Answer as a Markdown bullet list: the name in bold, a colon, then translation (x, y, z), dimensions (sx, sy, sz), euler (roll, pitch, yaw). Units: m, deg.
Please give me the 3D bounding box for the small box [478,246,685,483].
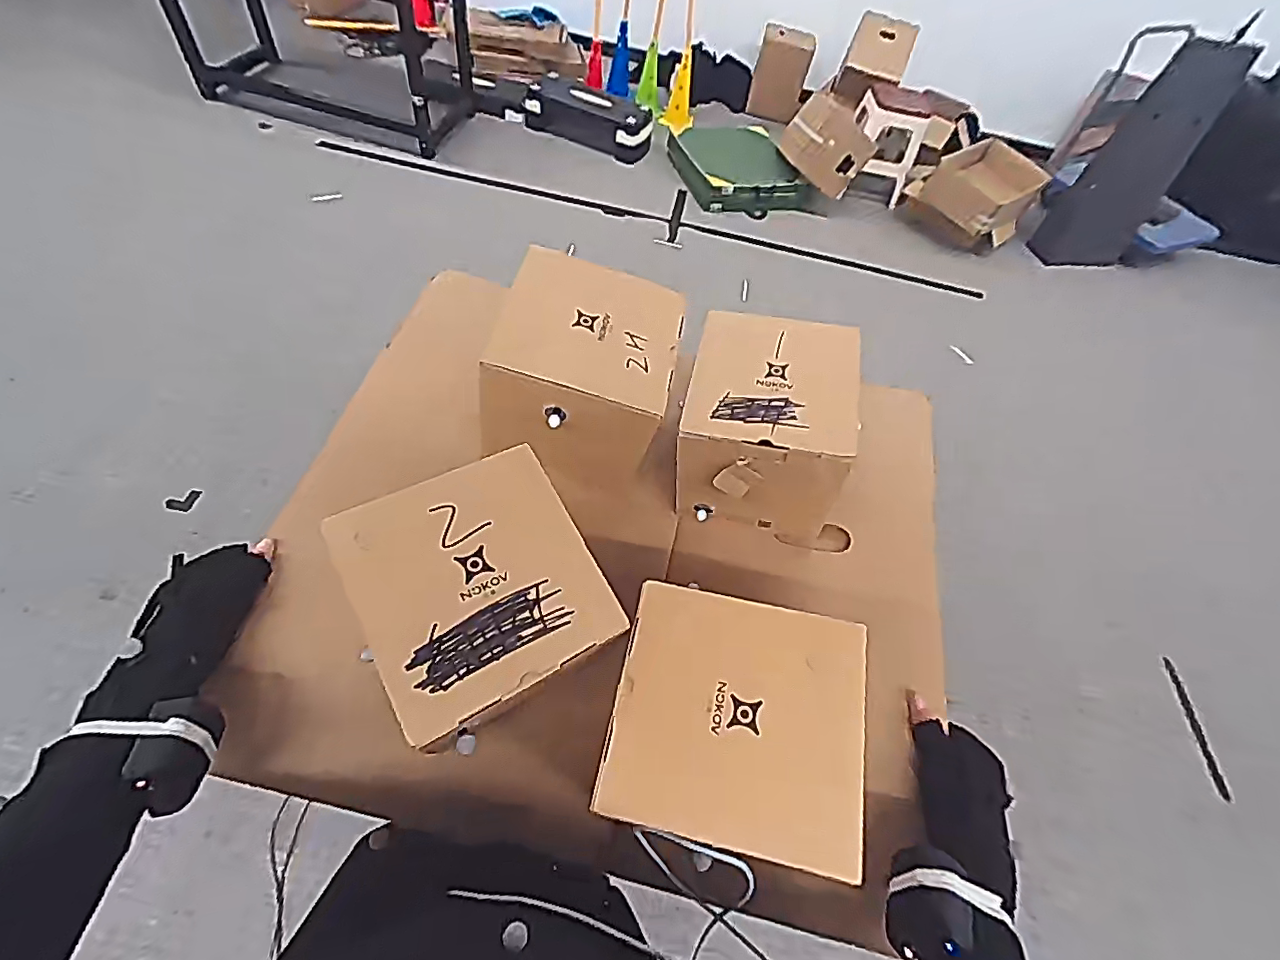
- **small box**: translation (-0.068, -0.116, 0.602), dimensions (0.179, 0.176, 0.168), euler (17, 61, -7)
